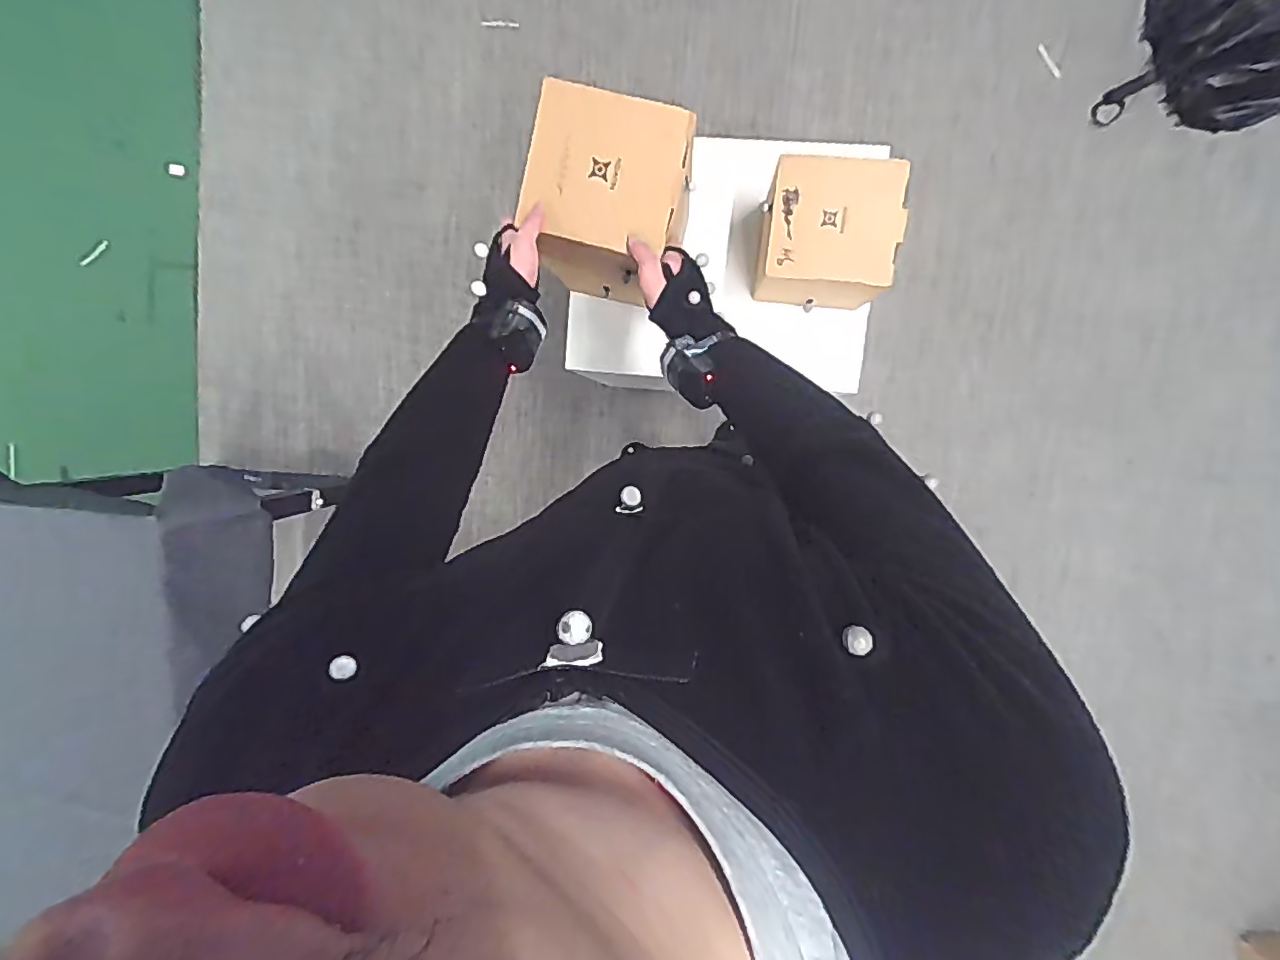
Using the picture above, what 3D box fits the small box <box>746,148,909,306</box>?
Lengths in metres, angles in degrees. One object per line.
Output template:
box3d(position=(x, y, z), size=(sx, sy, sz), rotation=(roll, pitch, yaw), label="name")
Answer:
box3d(position=(0.267, -0.364, 0.809), size=(0.179, 0.176, 0.168), rotation=(7, 97, 3), label="small box")

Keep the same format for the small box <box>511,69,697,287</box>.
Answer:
box3d(position=(-0.037, -0.351, 0.665), size=(0.179, 0.176, 0.168), rotation=(13, 95, 2), label="small box")

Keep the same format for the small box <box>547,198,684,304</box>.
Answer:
box3d(position=(-0.032, -0.378, 0.825), size=(0.179, 0.176, 0.168), rotation=(13, 97, 2), label="small box")
